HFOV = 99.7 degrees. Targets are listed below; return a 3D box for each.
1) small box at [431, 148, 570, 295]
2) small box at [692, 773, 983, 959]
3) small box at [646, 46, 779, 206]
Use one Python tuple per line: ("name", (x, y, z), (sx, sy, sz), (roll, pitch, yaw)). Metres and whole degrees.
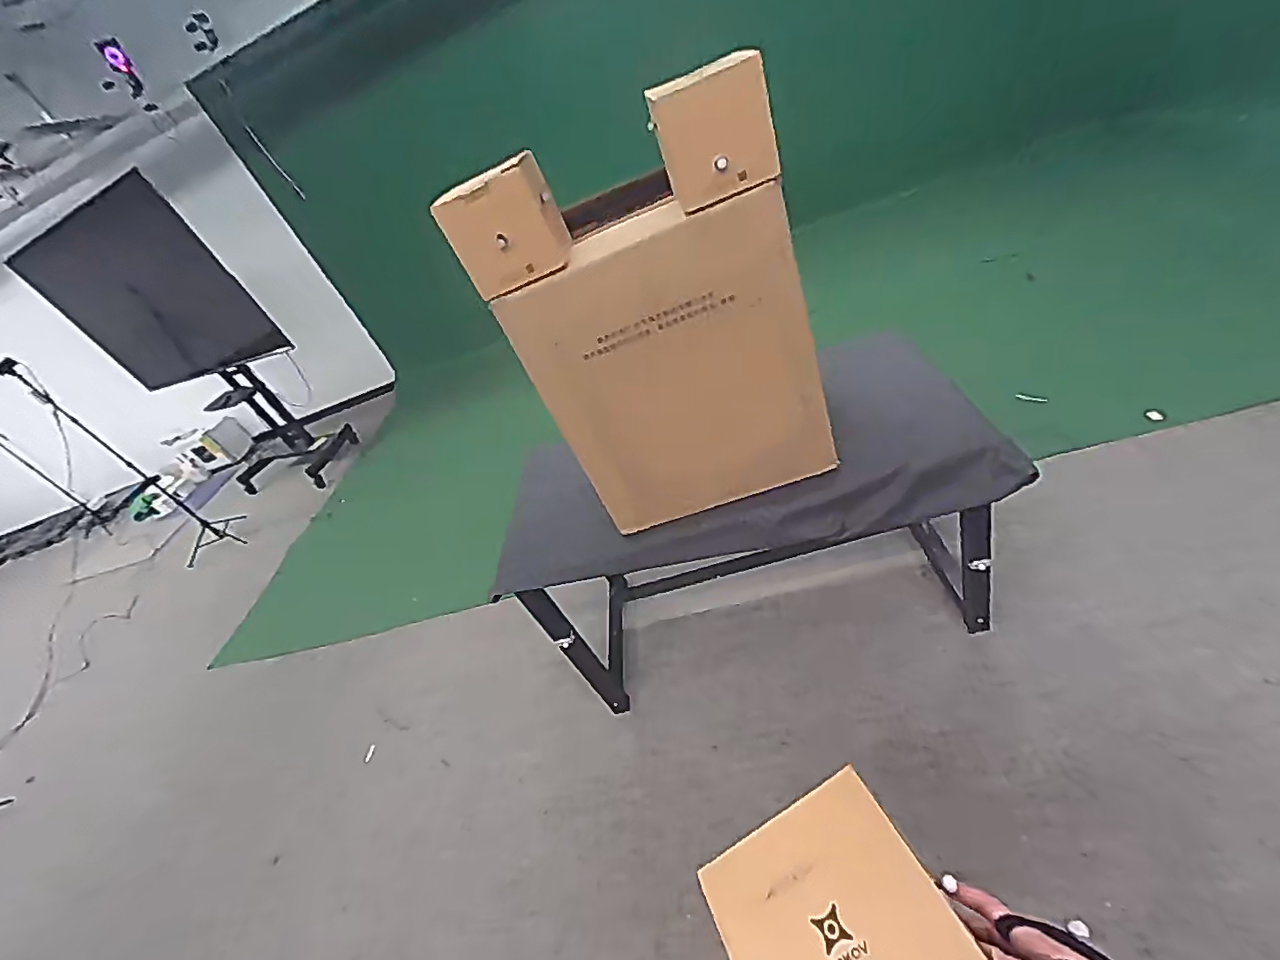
("small box", (-0.236, -0.454, 0.964), (0.168, 0.176, 0.179), (-19, 37, 12))
("small box", (0.176, 0.389, 0.444), (0.168, 0.176, 0.179), (-36, 36, 1))
("small box", (0.116, -0.575, 0.885), (0.168, 0.176, 0.179), (-18, 38, 11))
